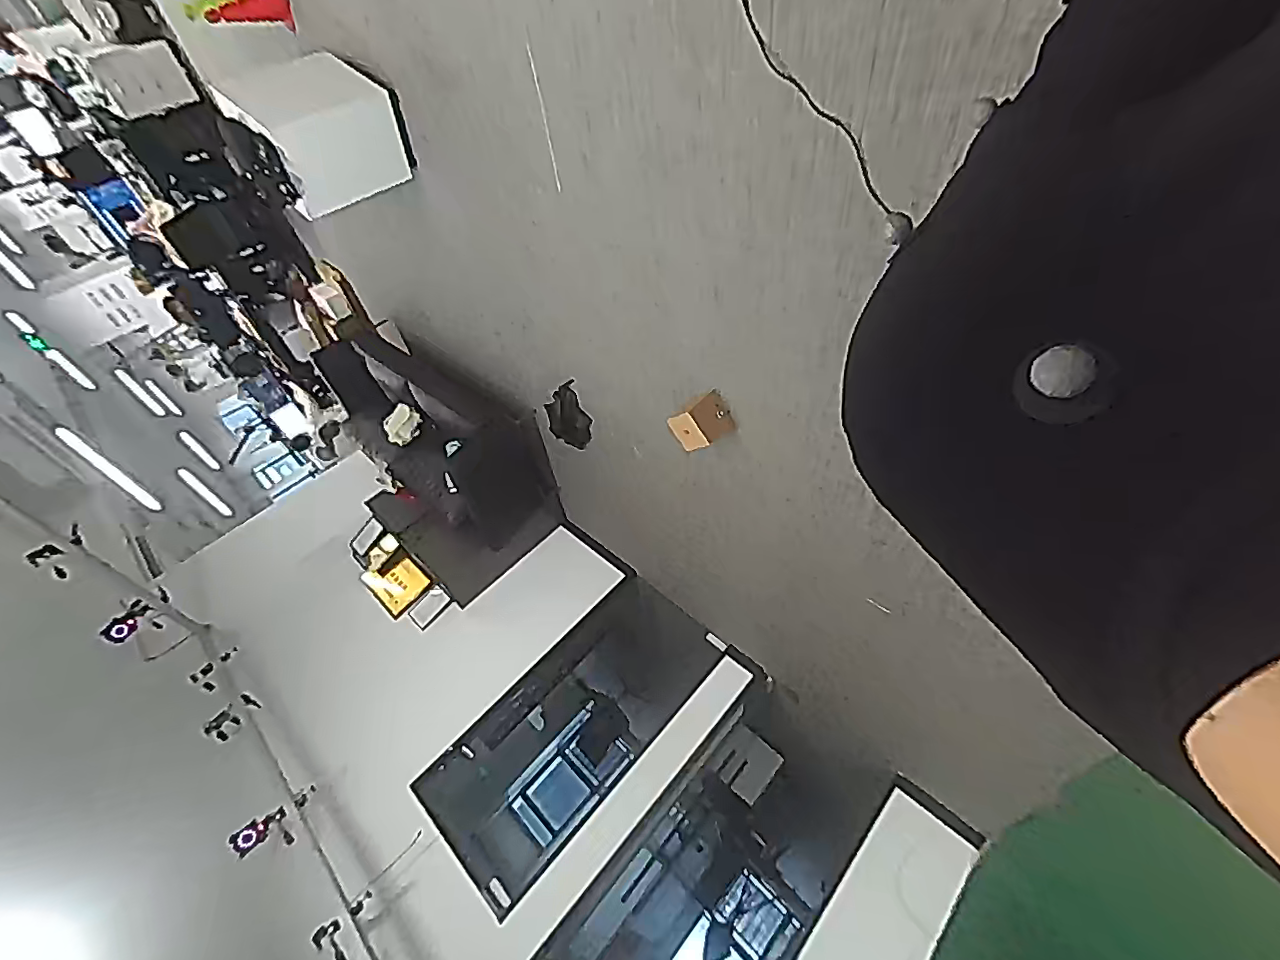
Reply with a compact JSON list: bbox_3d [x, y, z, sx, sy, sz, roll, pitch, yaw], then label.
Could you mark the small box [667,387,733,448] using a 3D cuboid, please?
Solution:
[{"bbox_3d":[0.251,-0.257,2.230,0.168,0.176,0.179,53,154,-12],"label":"small box"}]
